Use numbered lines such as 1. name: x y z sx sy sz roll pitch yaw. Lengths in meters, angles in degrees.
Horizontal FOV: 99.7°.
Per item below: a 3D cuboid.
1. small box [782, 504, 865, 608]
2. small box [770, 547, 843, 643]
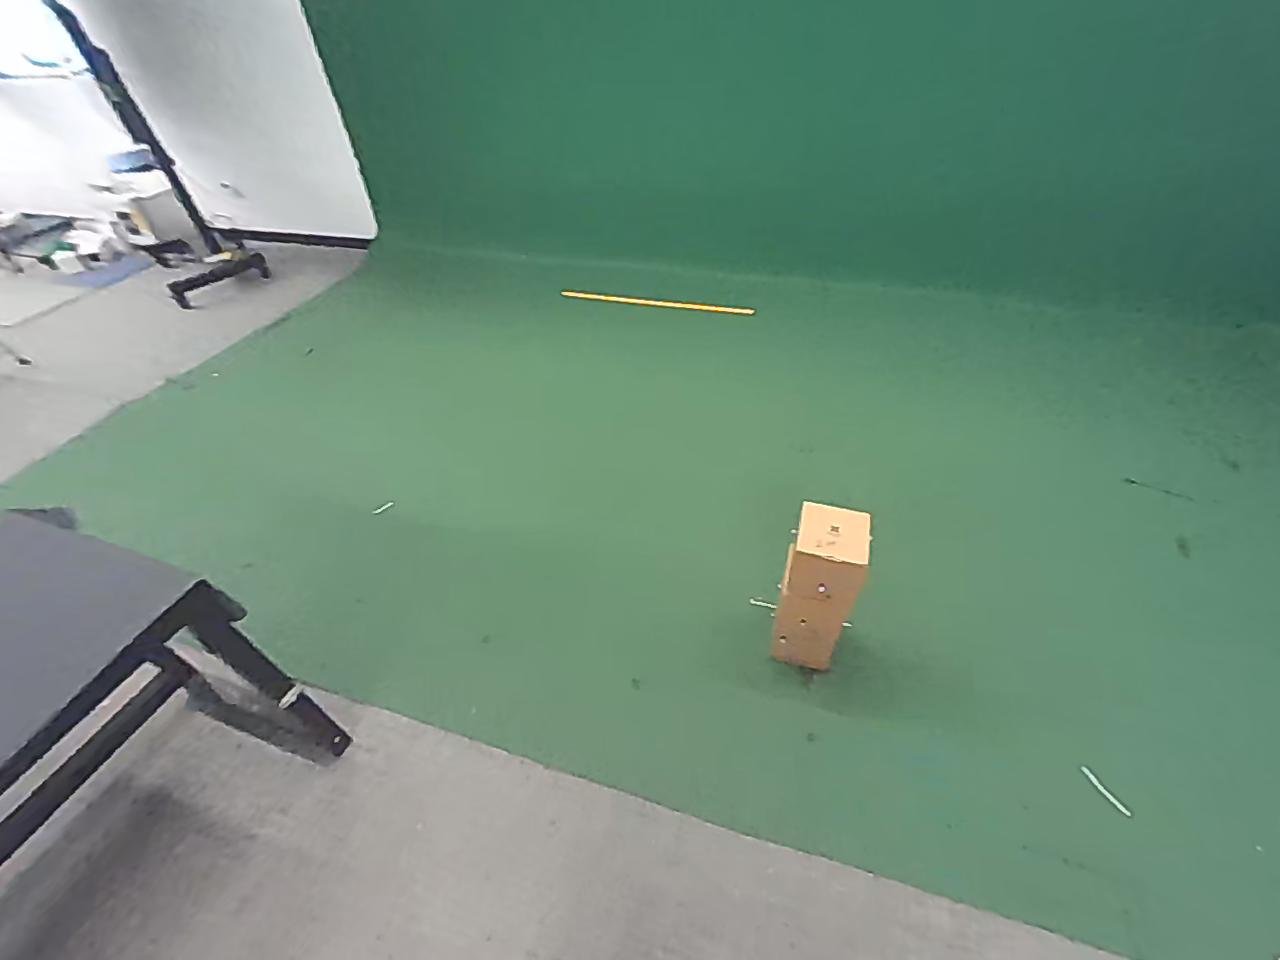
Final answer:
1. small box: 0.465 0.193 1.381 0.168 0.176 0.179 12 44 14
2. small box: 0.460 0.317 1.491 0.168 0.176 0.179 11 44 13
